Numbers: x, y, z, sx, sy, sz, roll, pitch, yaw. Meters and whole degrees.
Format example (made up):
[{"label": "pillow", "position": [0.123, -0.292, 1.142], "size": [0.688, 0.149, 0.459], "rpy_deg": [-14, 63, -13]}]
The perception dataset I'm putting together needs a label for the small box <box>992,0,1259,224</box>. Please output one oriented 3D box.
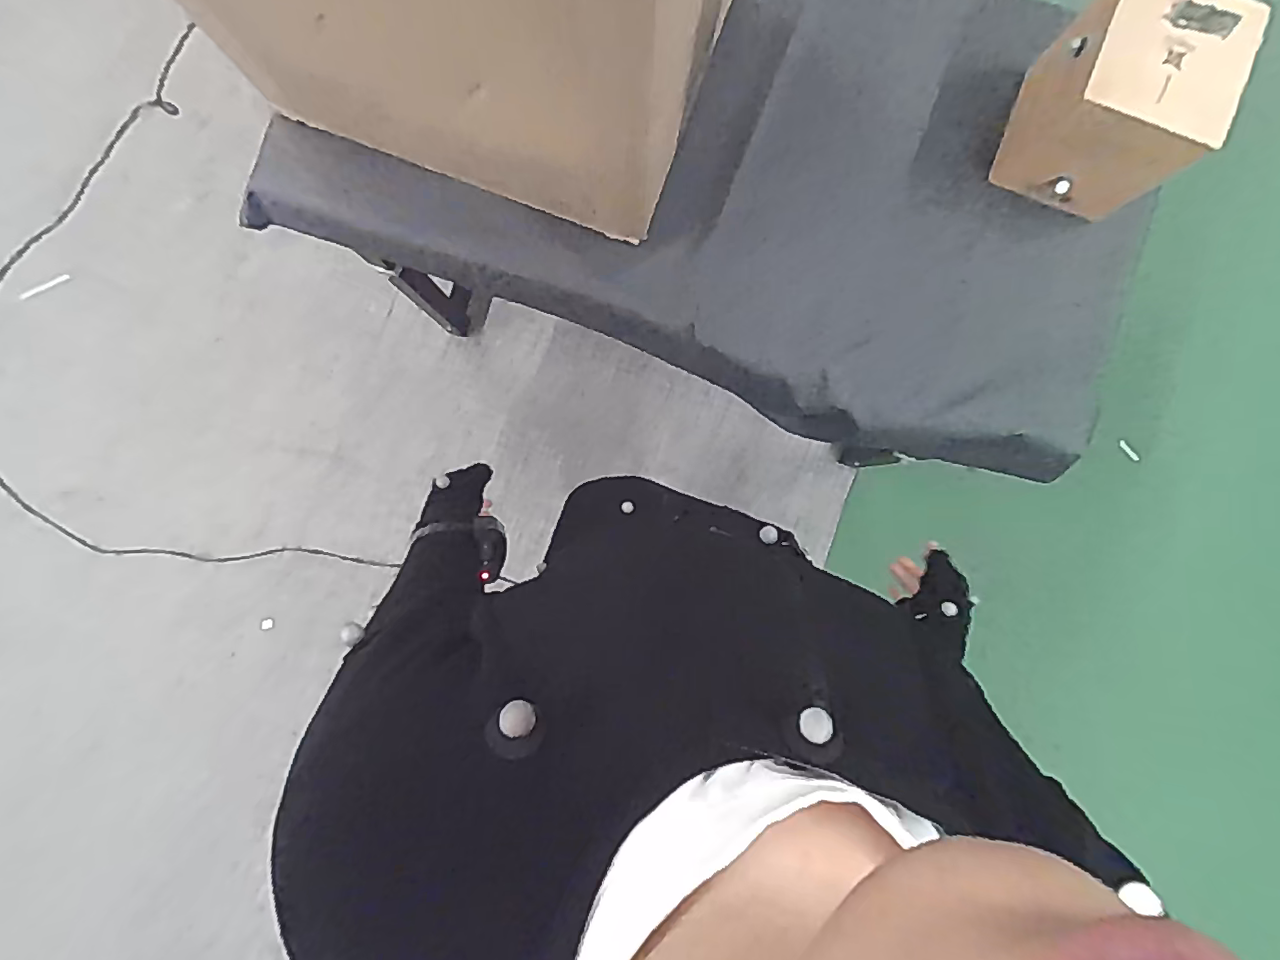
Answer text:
[{"label": "small box", "position": [0.598, -0.471, 0.692], "size": [0.168, 0.176, 0.179], "rpy_deg": [21, 89, 0]}]
